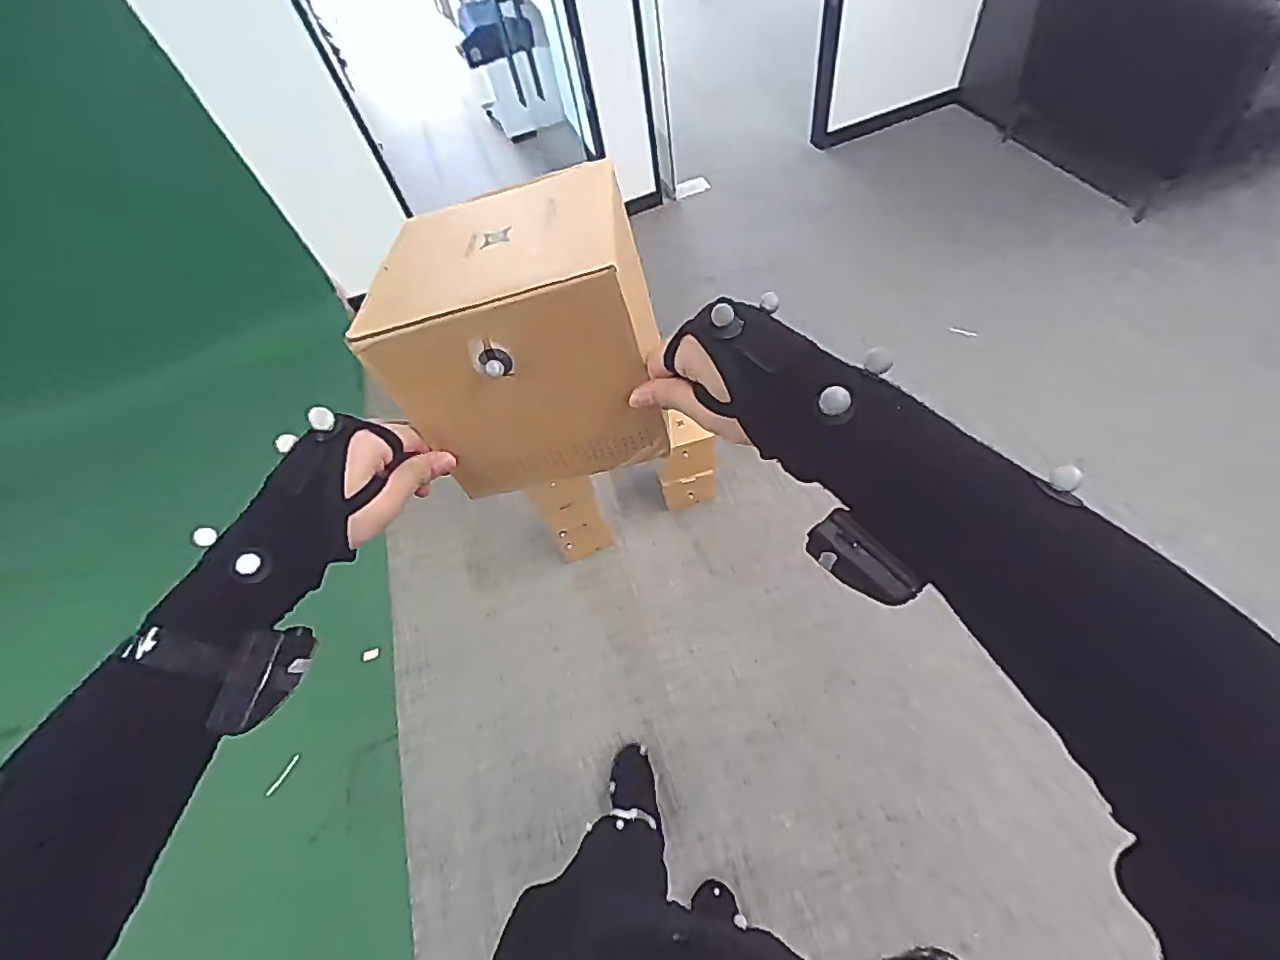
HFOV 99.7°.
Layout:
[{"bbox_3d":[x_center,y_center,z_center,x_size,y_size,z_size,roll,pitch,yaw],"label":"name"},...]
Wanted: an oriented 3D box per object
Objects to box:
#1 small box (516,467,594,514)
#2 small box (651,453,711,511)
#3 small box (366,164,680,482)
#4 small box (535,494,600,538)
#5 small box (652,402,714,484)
[{"bbox_3d":[-0.245,-0.031,1.490,0.179,0.176,0.168,-21,55,-5],"label":"small box"},{"bbox_3d":[0.140,-0.012,1.812,0.168,0.176,0.179,-14,56,-1],"label":"small box"},{"bbox_3d":[-0.074,-0.117,0.439,0.179,0.176,0.168,-11,48,9],"label":"small box"},{"bbox_3d":[-0.232,0.055,1.631,0.168,0.176,0.179,-22,54,-6],"label":"small box"},{"bbox_3d":[0.124,-0.112,1.684,0.179,0.176,0.168,-16,55,-1],"label":"small box"}]
